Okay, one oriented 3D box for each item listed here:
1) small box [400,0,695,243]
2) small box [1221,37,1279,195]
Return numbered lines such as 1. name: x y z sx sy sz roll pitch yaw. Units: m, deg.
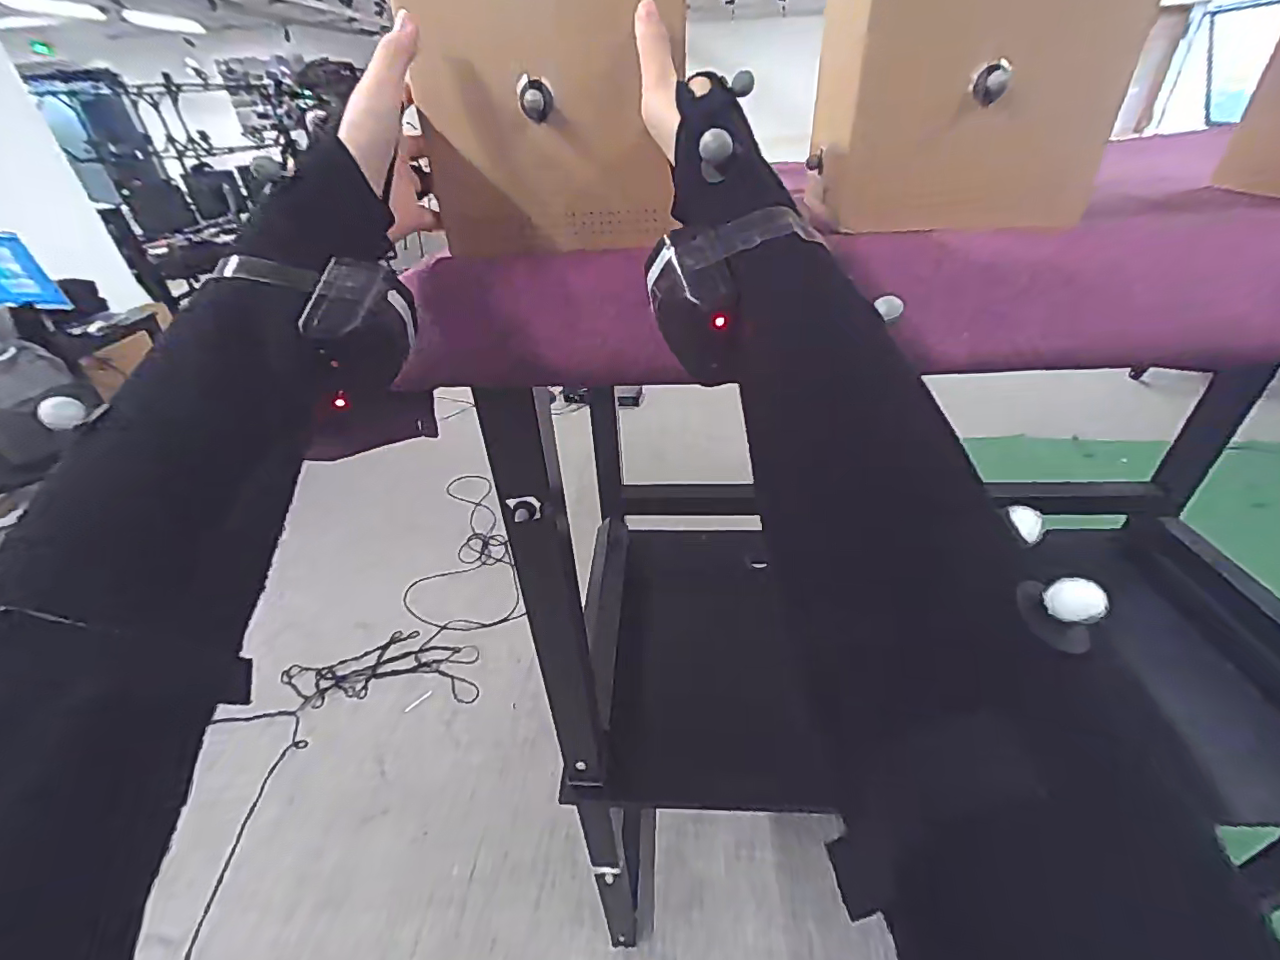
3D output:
1. small box: -0.052 -0.287 0.408 0.179 0.176 0.168 -2 36 2
2. small box: 0.604 -0.299 0.385 0.168 0.176 0.179 3 34 9
